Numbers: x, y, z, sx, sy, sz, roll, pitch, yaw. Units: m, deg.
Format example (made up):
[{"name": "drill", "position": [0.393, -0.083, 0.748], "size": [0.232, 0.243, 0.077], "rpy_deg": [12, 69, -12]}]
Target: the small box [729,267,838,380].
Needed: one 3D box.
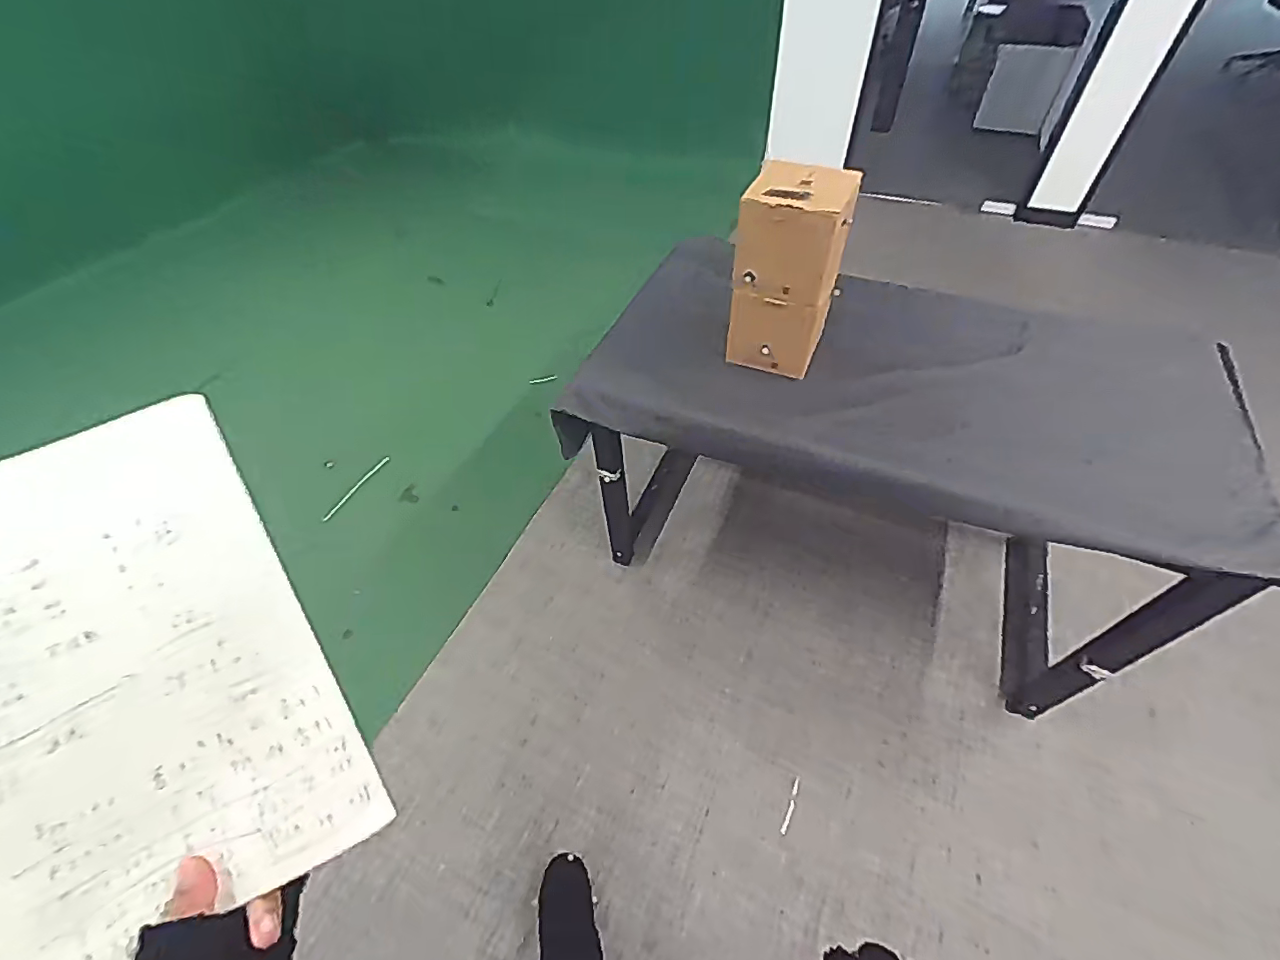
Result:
[{"name": "small box", "position": [0.288, -0.336, 1.108], "size": [0.168, 0.176, 0.179], "rpy_deg": [18, 53, 17]}]

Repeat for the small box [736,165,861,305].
[{"name": "small box", "position": [0.281, -0.444, 0.985], "size": [0.168, 0.176, 0.179], "rpy_deg": [20, 53, 18]}]
